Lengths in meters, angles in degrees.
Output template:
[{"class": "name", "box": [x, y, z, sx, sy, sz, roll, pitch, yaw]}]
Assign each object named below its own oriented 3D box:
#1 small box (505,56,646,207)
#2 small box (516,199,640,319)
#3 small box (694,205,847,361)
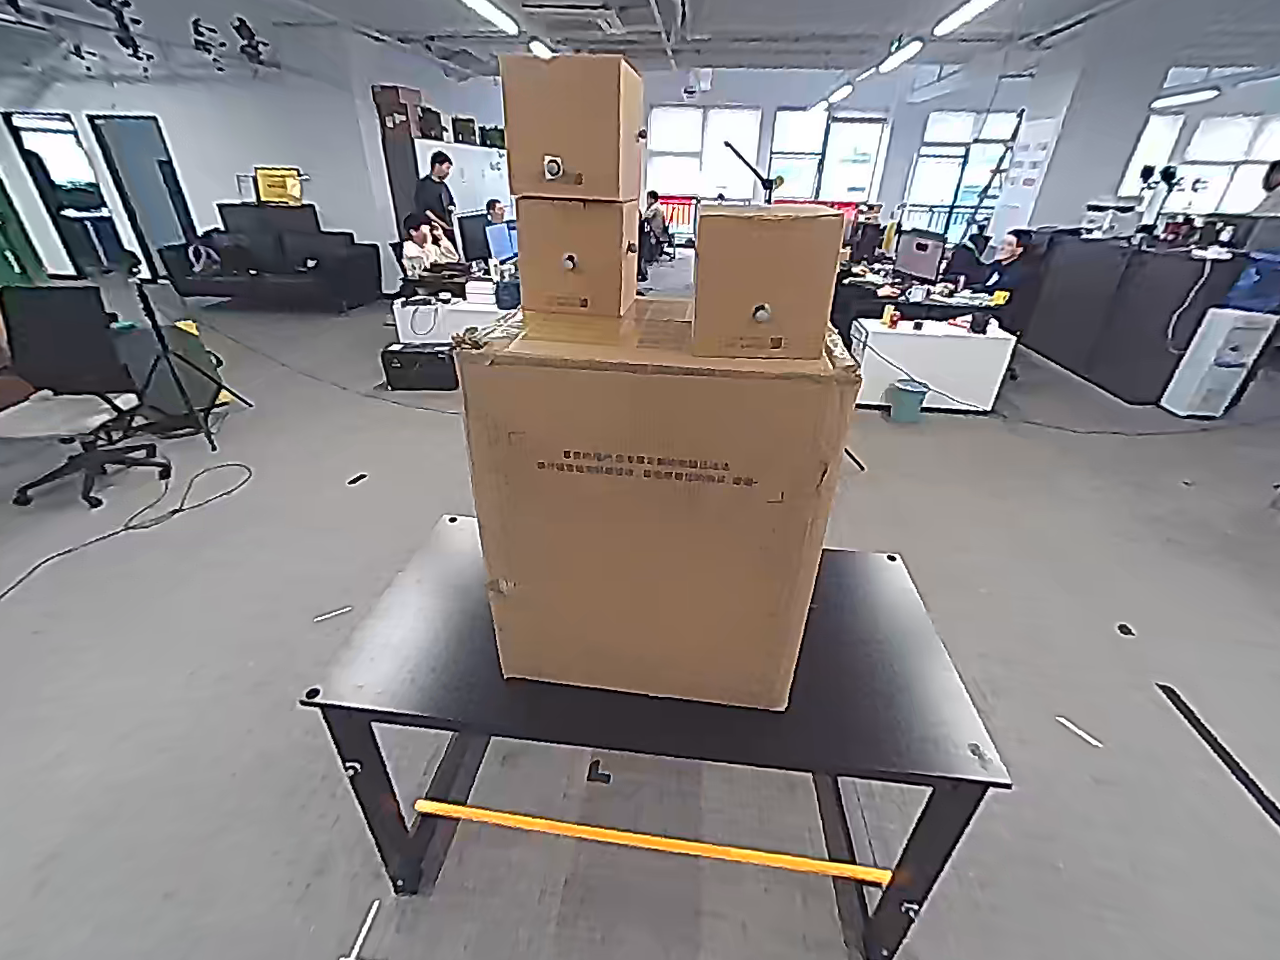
[{"class": "small box", "box": [-0.087, -0.507, 0.803, 0.168, 0.176, 0.179, 5, 30, 7]}, {"class": "small box", "box": [-0.093, -0.372, 0.897, 0.168, 0.176, 0.179, 6, 30, 5]}, {"class": "small box", "box": [0.159, -0.268, 0.723, 0.168, 0.176, 0.179, 2, 31, 4]}]
